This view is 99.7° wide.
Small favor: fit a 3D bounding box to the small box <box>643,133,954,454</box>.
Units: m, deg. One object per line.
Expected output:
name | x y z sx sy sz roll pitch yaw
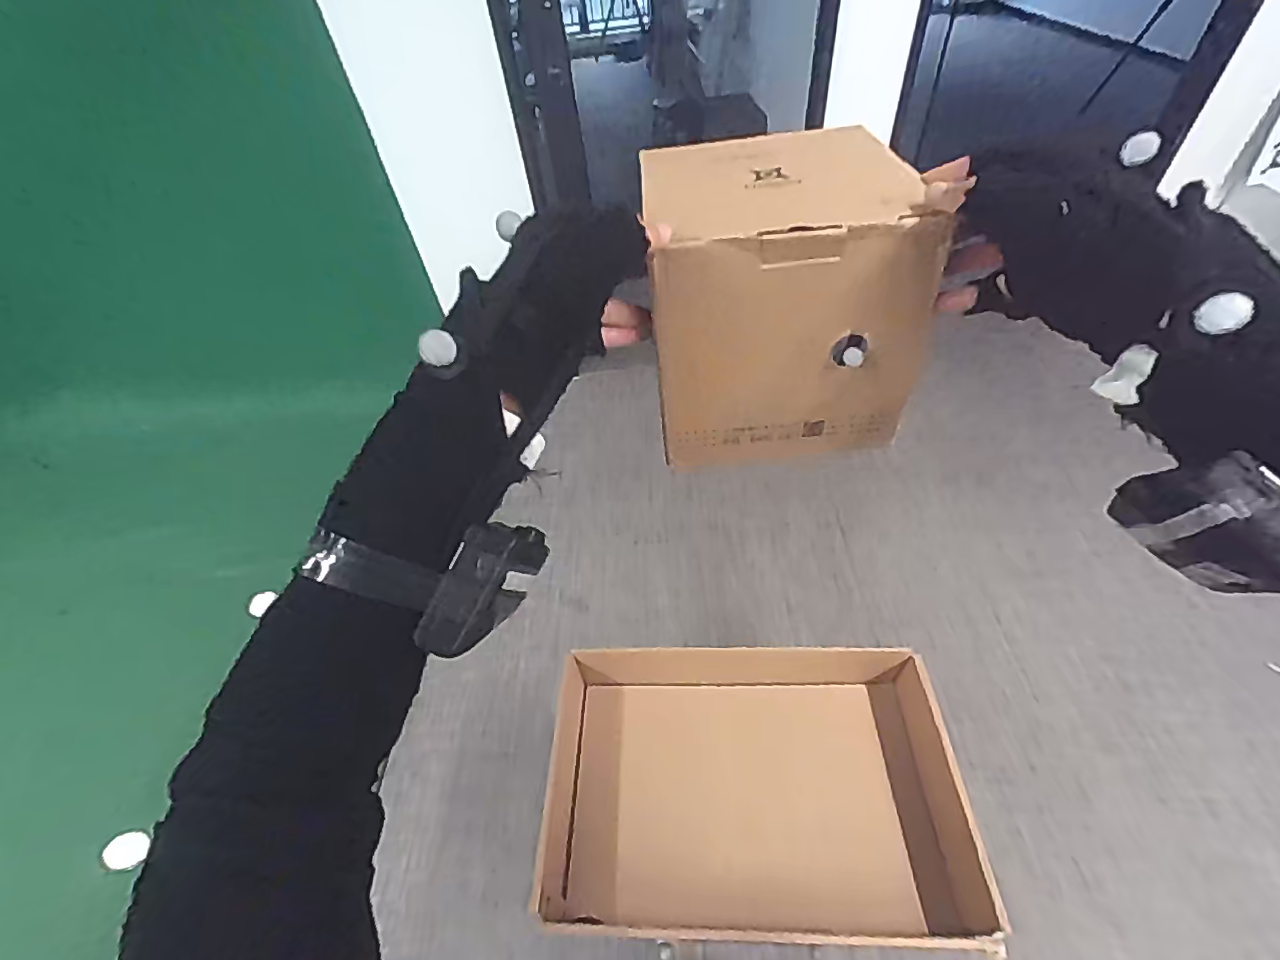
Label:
small box | 0.092 -0.131 0.401 0.168 0.176 0.179 -4 44 2
